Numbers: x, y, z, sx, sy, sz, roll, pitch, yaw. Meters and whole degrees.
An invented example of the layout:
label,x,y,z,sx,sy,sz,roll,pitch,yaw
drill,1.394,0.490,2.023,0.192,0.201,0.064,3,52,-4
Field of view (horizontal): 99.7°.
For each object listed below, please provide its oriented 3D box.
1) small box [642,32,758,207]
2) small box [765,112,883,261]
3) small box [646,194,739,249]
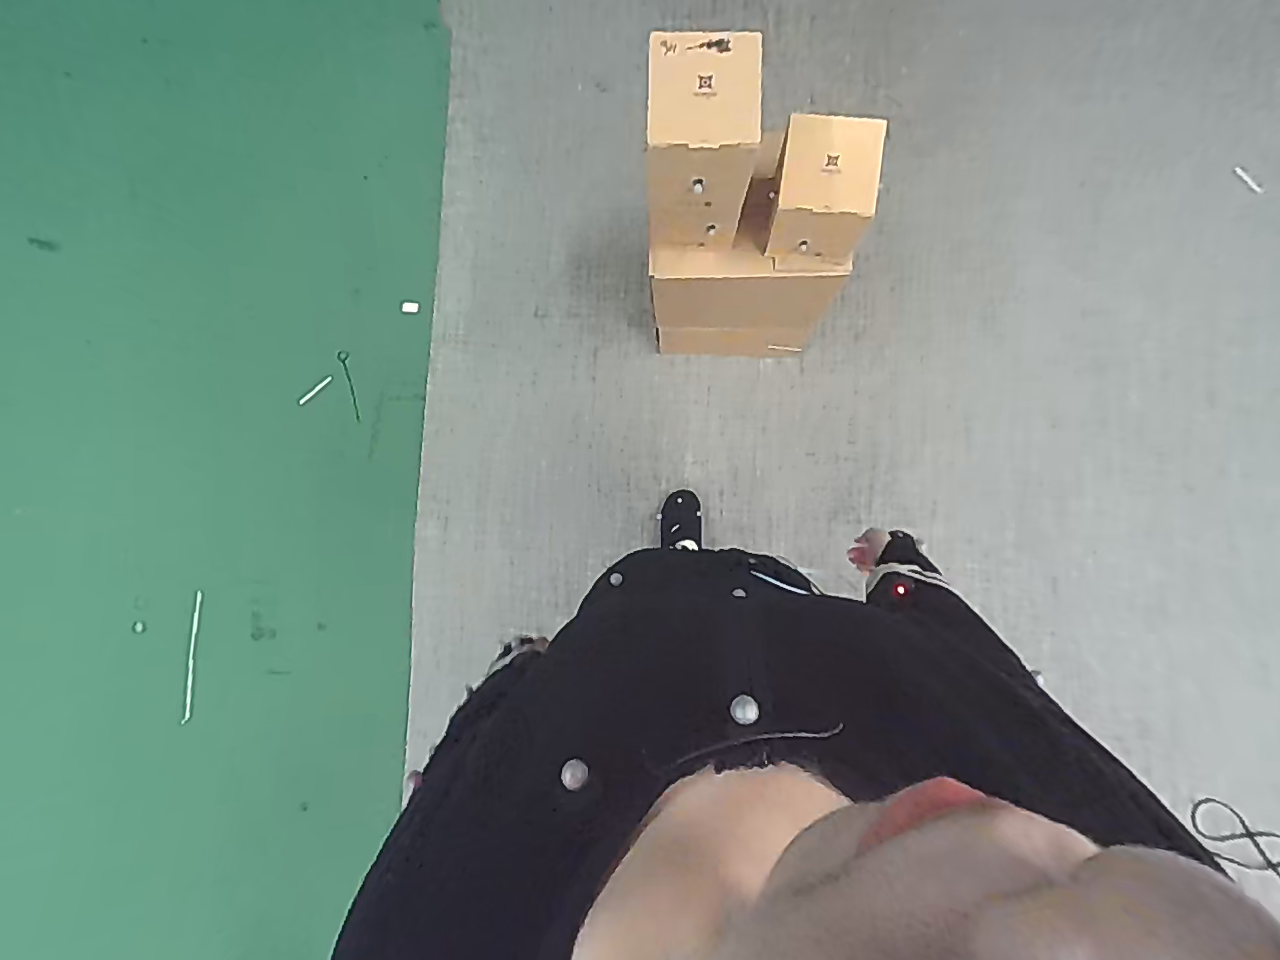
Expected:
label,x,y,z,sx,sy,sz,roll,pitch,yaw
small box,0.090,-0.559,0.860,0.168,0.176,0.179,1,87,1
small box,0.332,-0.537,1.005,0.168,0.176,0.179,7,86,6
small box,0.100,-0.559,1.024,0.168,0.176,0.179,3,86,2
